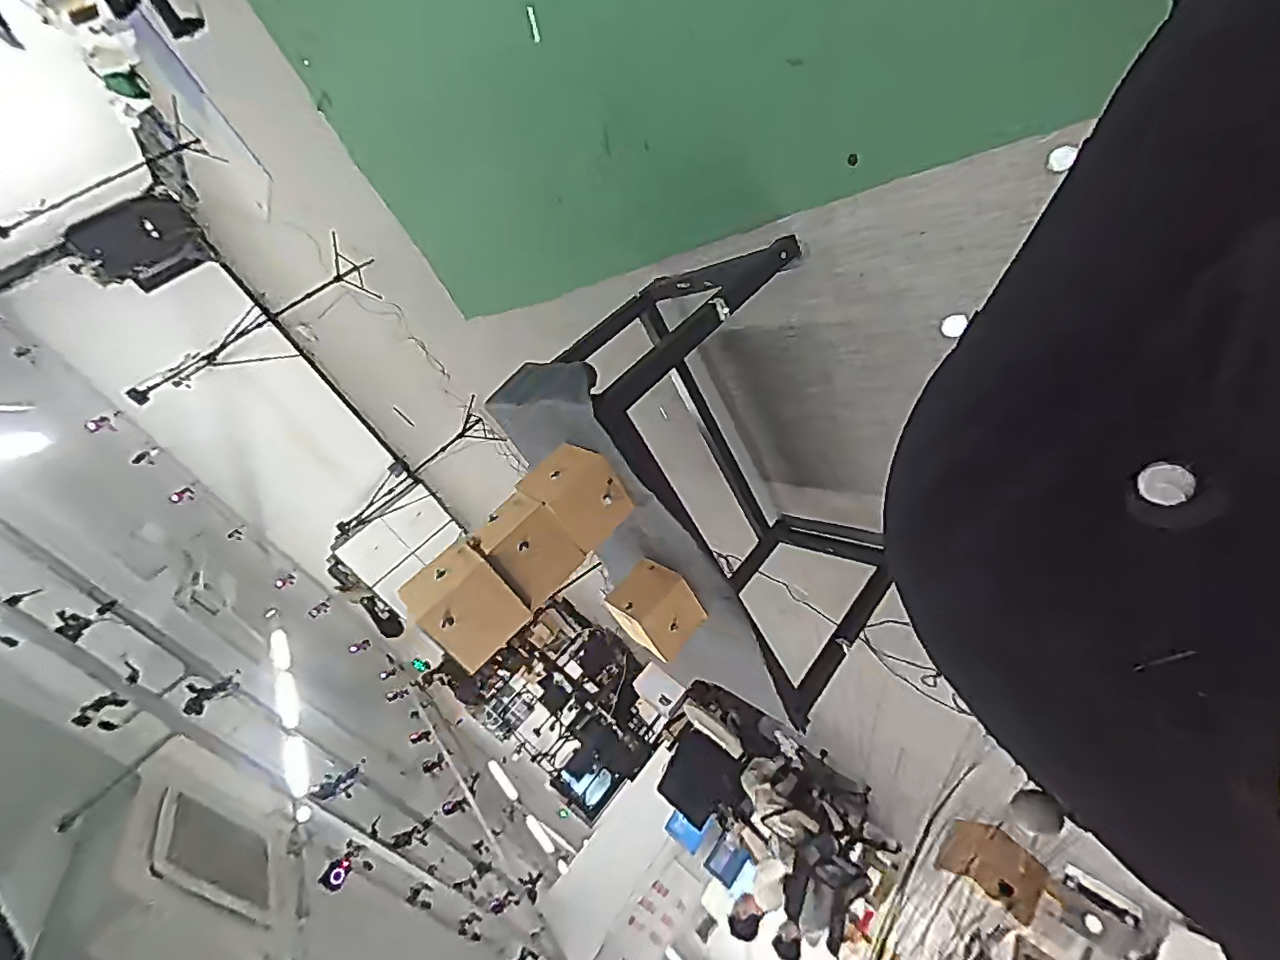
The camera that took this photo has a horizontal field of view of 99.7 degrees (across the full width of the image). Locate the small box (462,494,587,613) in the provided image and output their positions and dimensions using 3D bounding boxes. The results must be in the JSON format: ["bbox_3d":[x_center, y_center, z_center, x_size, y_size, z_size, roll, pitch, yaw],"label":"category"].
[{"bbox_3d":[-0.252,0.152,1.190,0.168,0.176,0.179,14,144,57],"label":"small box"}]

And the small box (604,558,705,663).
[{"bbox_3d":[0.044,0.340,1.431,0.168,0.176,0.179,15,144,52],"label":"small box"}]

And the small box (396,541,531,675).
[{"bbox_3d":[-0.358,0.253,1.109,0.168,0.176,0.179,19,147,53],"label":"small box"}]

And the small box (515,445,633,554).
[{"bbox_3d":[-0.148,0.039,1.242,0.179,0.176,0.168,19,147,50],"label":"small box"}]
